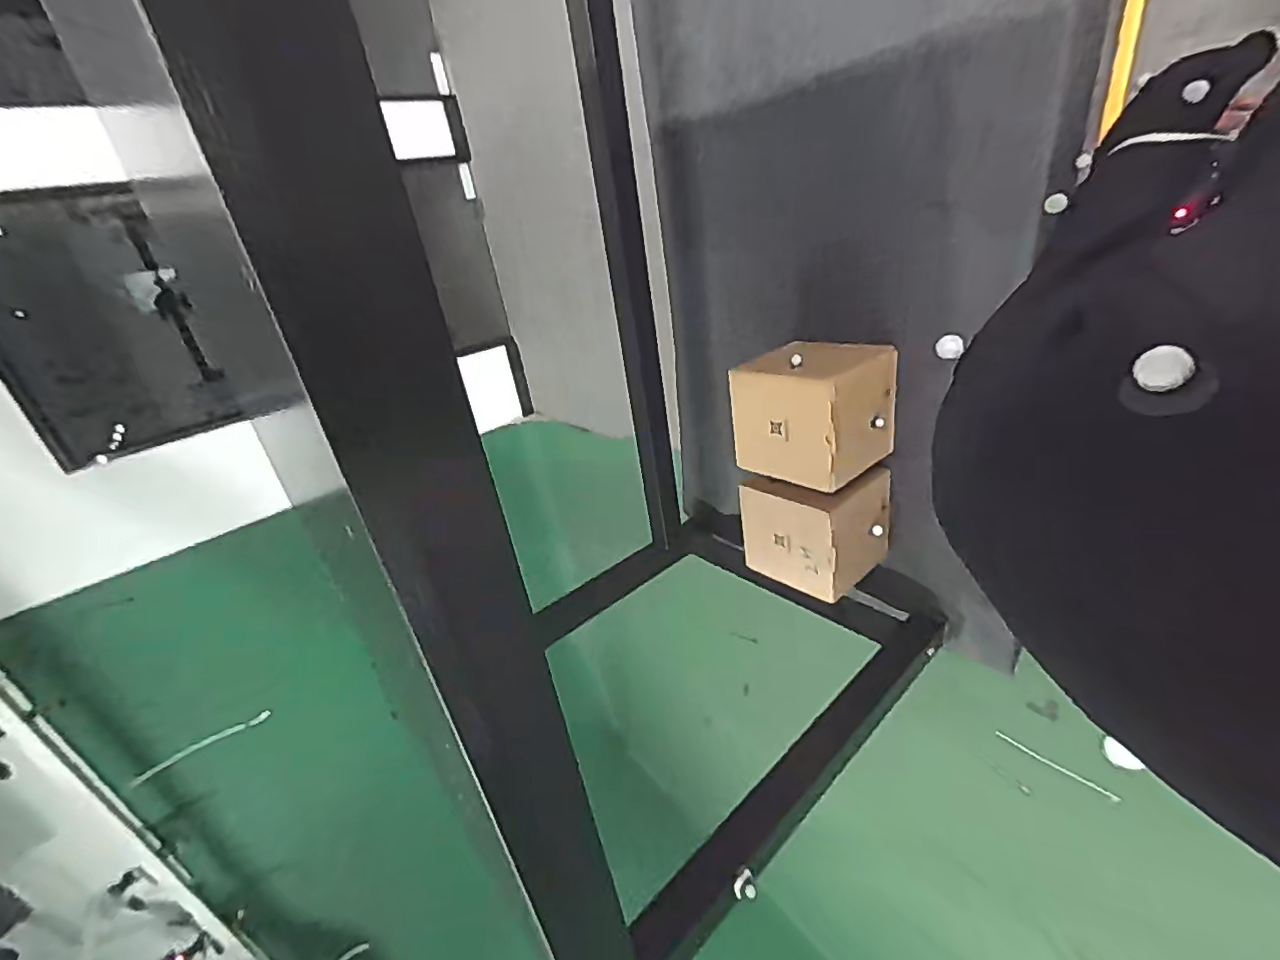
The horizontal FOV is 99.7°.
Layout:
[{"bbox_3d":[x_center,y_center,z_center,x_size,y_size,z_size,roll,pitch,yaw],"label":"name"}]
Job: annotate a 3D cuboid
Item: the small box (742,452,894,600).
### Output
[{"bbox_3d":[0.295,0.065,0.904,0.179,0.176,0.168,20,128,48],"label":"small box"}]
